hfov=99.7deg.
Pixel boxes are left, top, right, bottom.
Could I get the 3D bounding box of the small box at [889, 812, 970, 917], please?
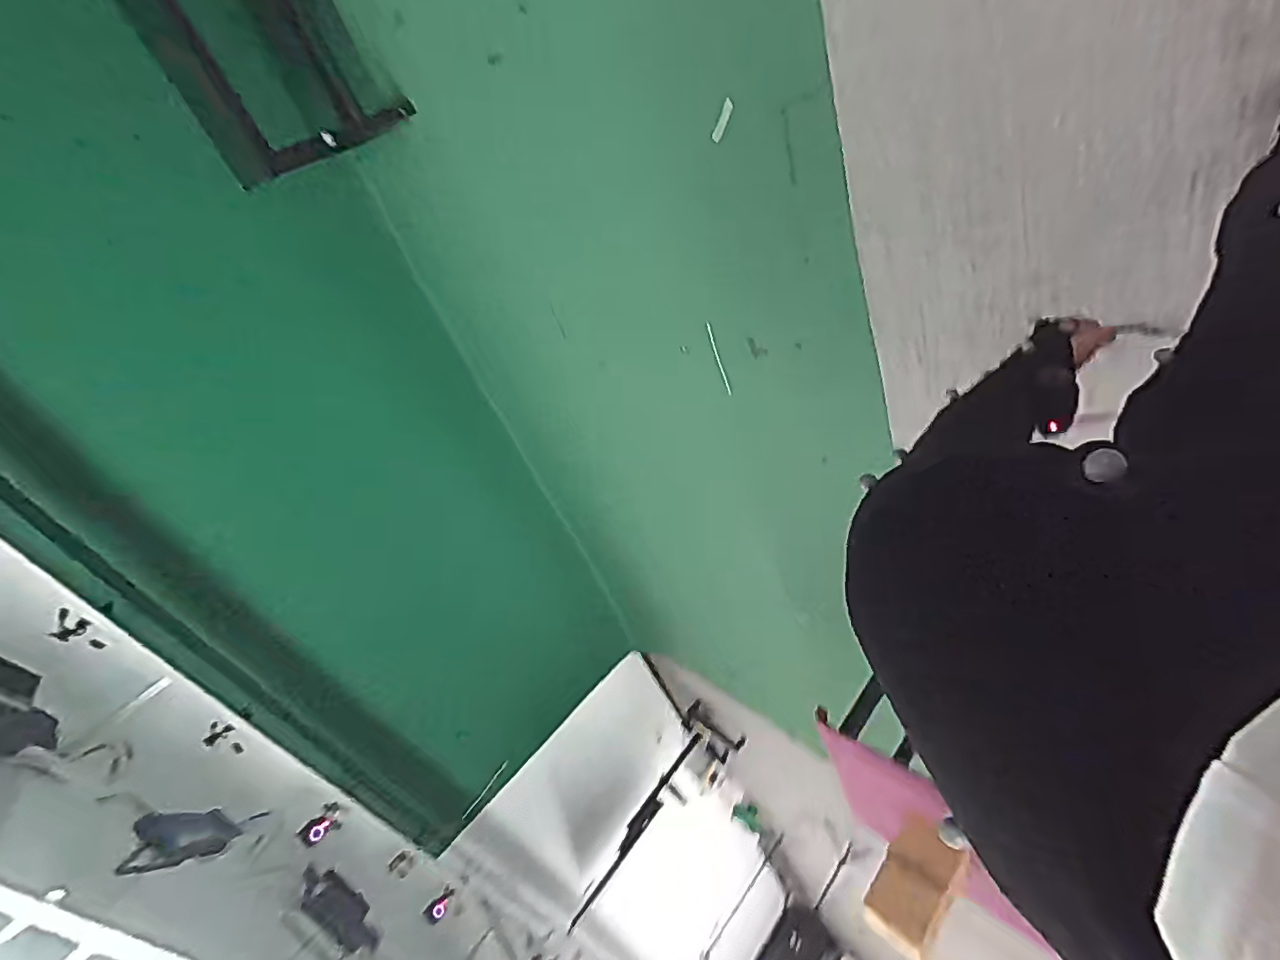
[{"bbox_3d":[0.900,1.180,1.670,0.179,0.176,0.168,17,140,47],"label":"small box"}]
